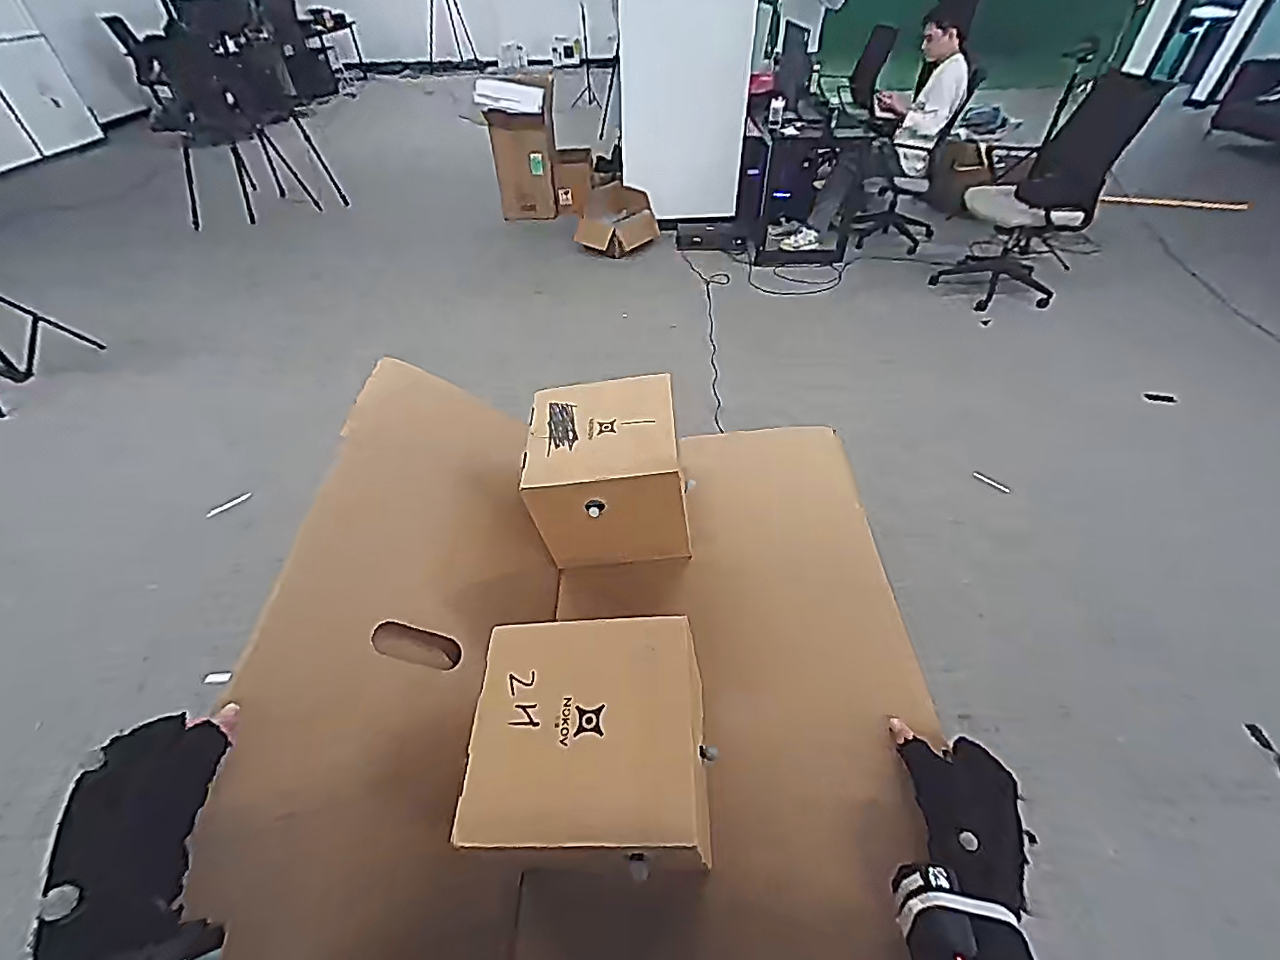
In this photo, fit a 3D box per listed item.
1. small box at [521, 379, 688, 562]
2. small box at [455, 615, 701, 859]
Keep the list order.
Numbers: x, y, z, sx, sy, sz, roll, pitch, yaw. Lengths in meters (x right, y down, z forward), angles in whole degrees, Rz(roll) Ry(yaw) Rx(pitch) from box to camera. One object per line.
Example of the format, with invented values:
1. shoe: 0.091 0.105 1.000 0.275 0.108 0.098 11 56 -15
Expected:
1. small box: -0.036 -0.006 0.703 0.179 0.176 0.168 -6 49 6
2. small box: -0.036 0.237 0.495 0.179 0.176 0.168 -5 49 8
